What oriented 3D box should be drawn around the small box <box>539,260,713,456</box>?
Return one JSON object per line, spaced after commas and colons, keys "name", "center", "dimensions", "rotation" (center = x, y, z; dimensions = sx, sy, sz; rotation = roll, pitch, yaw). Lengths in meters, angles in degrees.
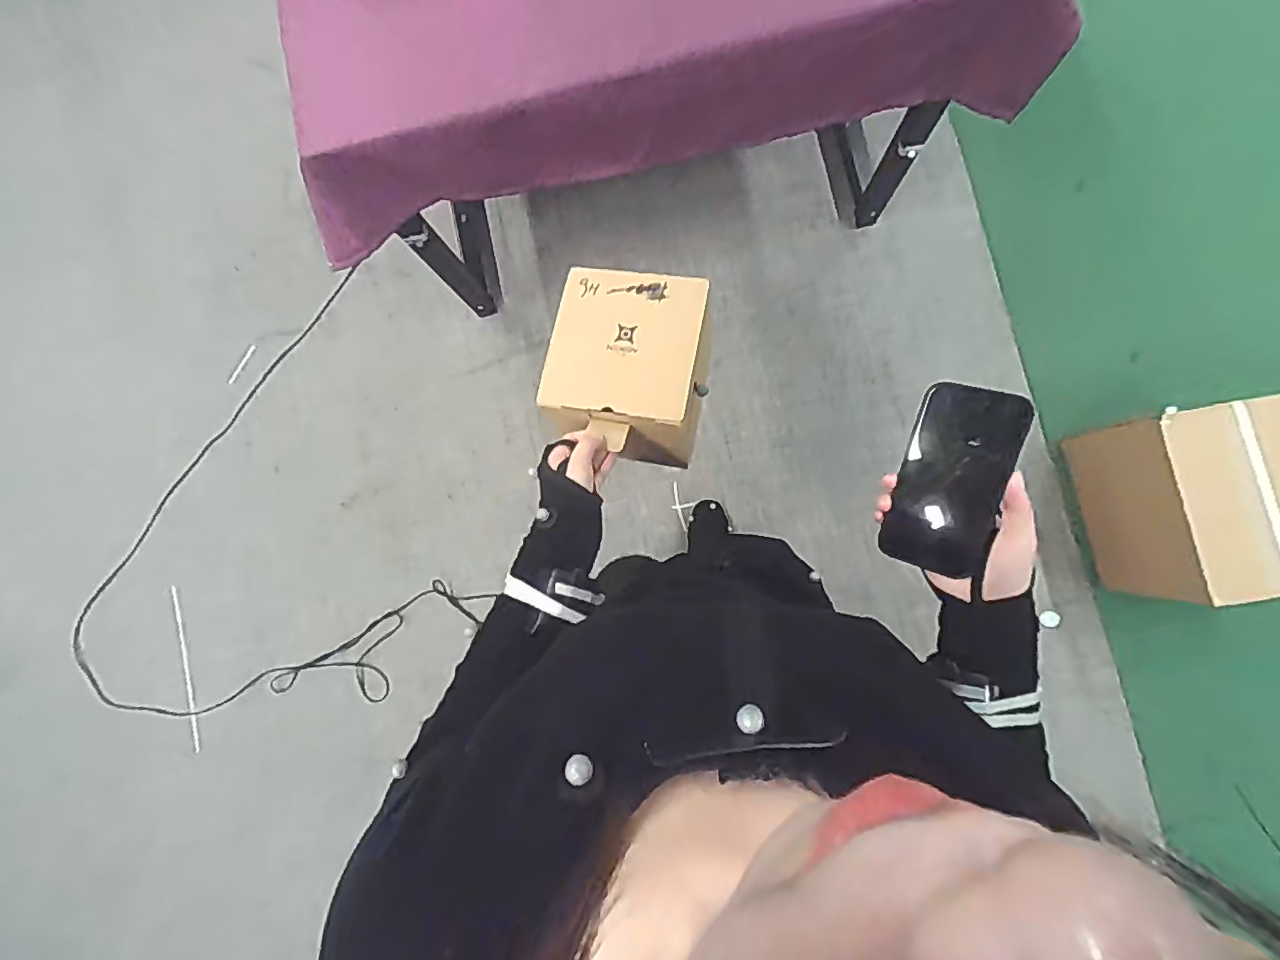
{"name": "small box", "center": [-0.004, -0.138, 0.664], "dimensions": [0.168, 0.176, 0.179], "rotation": [9, 78, 11]}
